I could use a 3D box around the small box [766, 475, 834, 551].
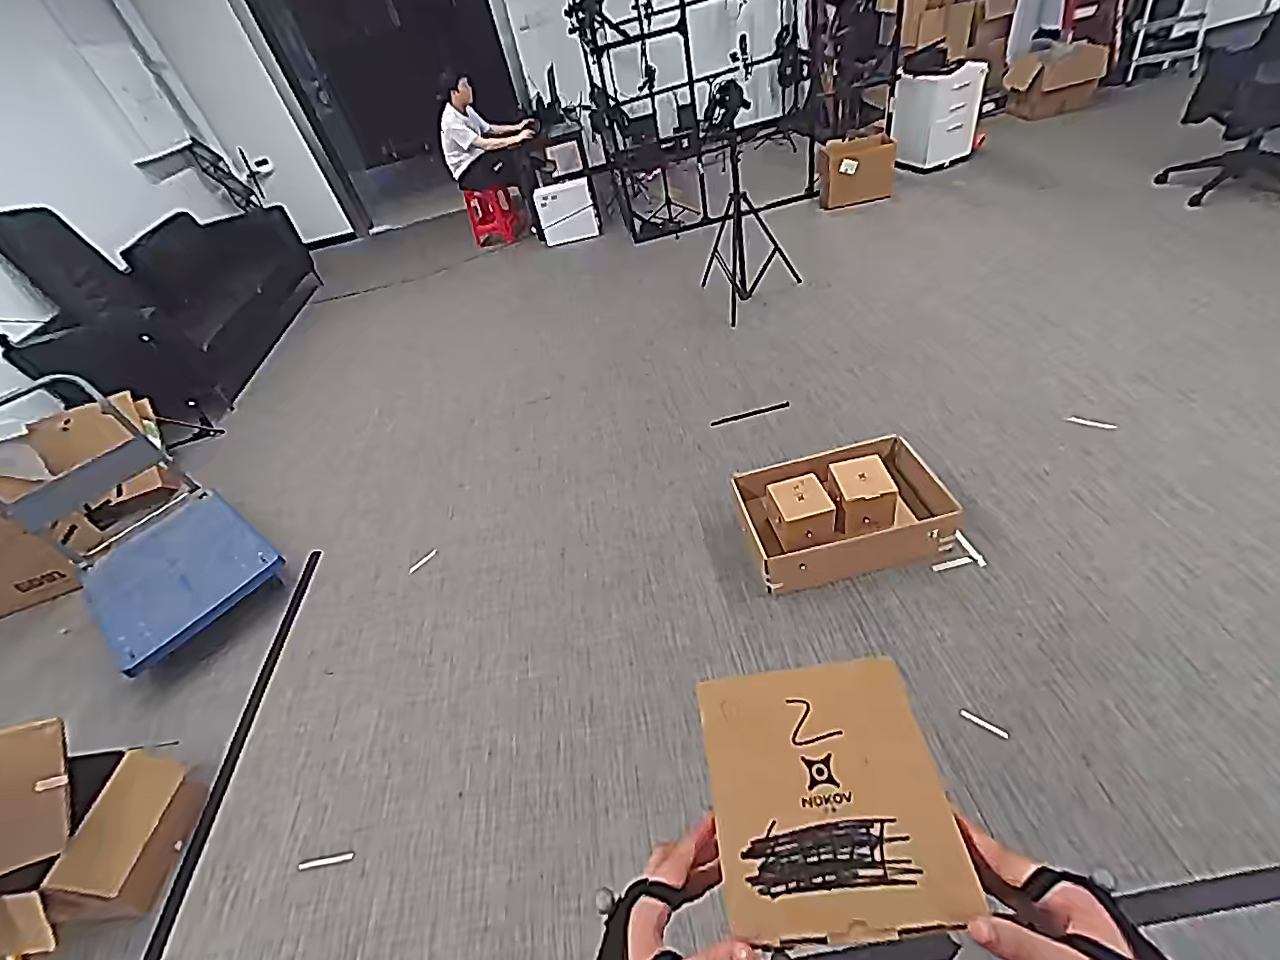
[{"bbox_3d":[0.530,0.117,1.800,0.168,0.176,0.179,-14,42,-1],"label":"small box"}]

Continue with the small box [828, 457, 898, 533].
[{"bbox_3d":[0.738,0.052,1.812,0.168,0.176,0.179,-11,43,5],"label":"small box"}]
